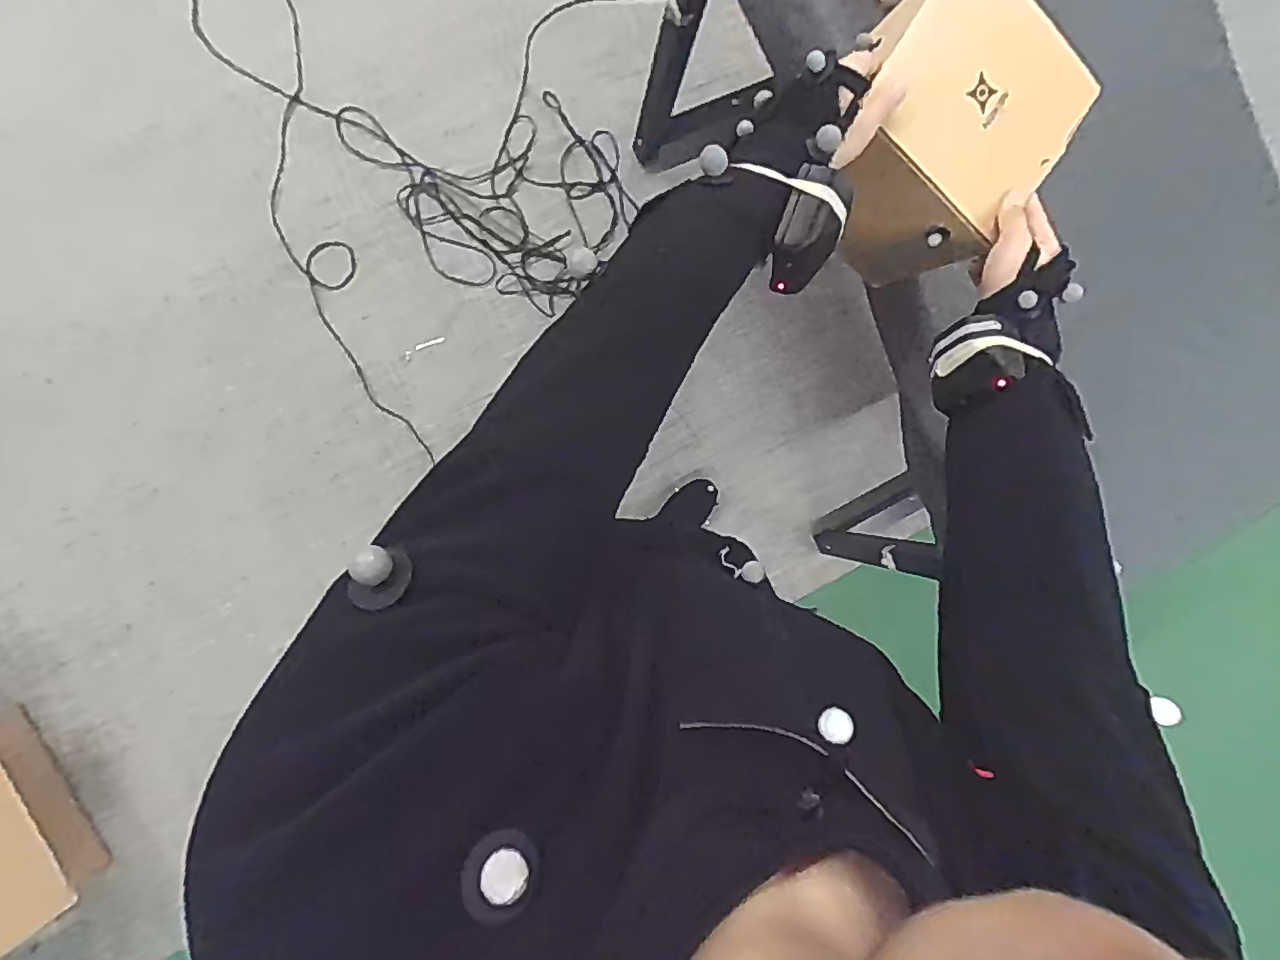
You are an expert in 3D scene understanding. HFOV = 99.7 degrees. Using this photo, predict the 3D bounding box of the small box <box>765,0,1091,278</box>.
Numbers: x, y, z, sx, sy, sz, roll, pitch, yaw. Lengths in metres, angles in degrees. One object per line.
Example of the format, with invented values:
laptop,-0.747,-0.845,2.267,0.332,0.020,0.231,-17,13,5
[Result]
small box,0.252,-0.319,0.512,0.179,0.176,0.168,33,90,-16
